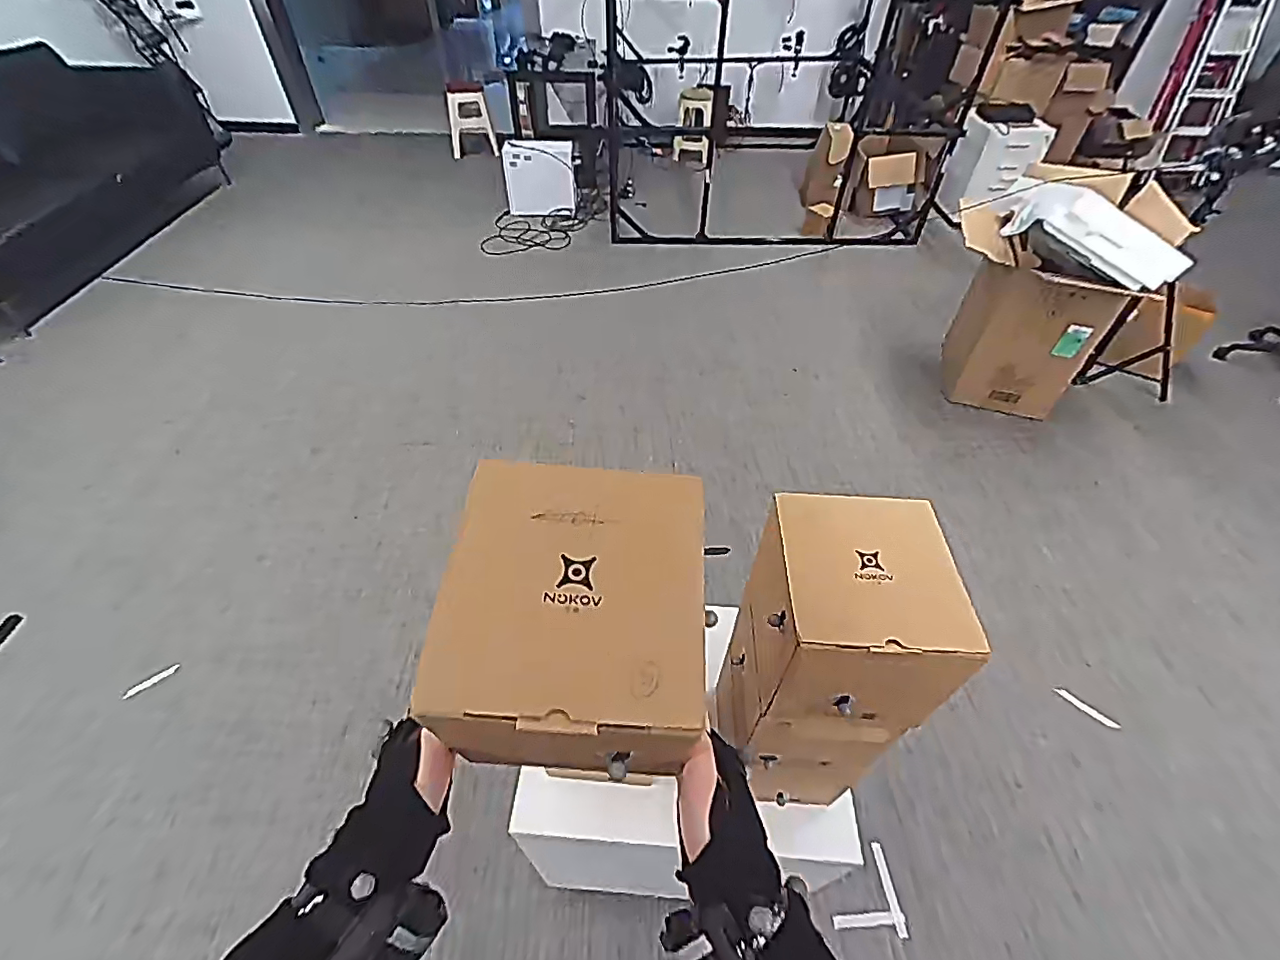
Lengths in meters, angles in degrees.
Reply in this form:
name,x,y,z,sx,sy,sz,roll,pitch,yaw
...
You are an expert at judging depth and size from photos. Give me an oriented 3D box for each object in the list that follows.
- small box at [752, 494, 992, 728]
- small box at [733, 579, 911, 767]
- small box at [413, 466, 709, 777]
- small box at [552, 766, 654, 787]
name,x,y,z,sx,sy,sz,roll,pitch,yaw
small box,0.218,0.137,0.570,0.168,0.176,0.179,3,47,1
small box,0.214,0.248,0.689,0.168,0.176,0.179,3,46,1
small box,-0.042,0.113,0.407,0.168,0.176,0.179,5,54,-1
small box,-0.049,0.339,0.822,0.168,0.176,0.179,5,46,3
